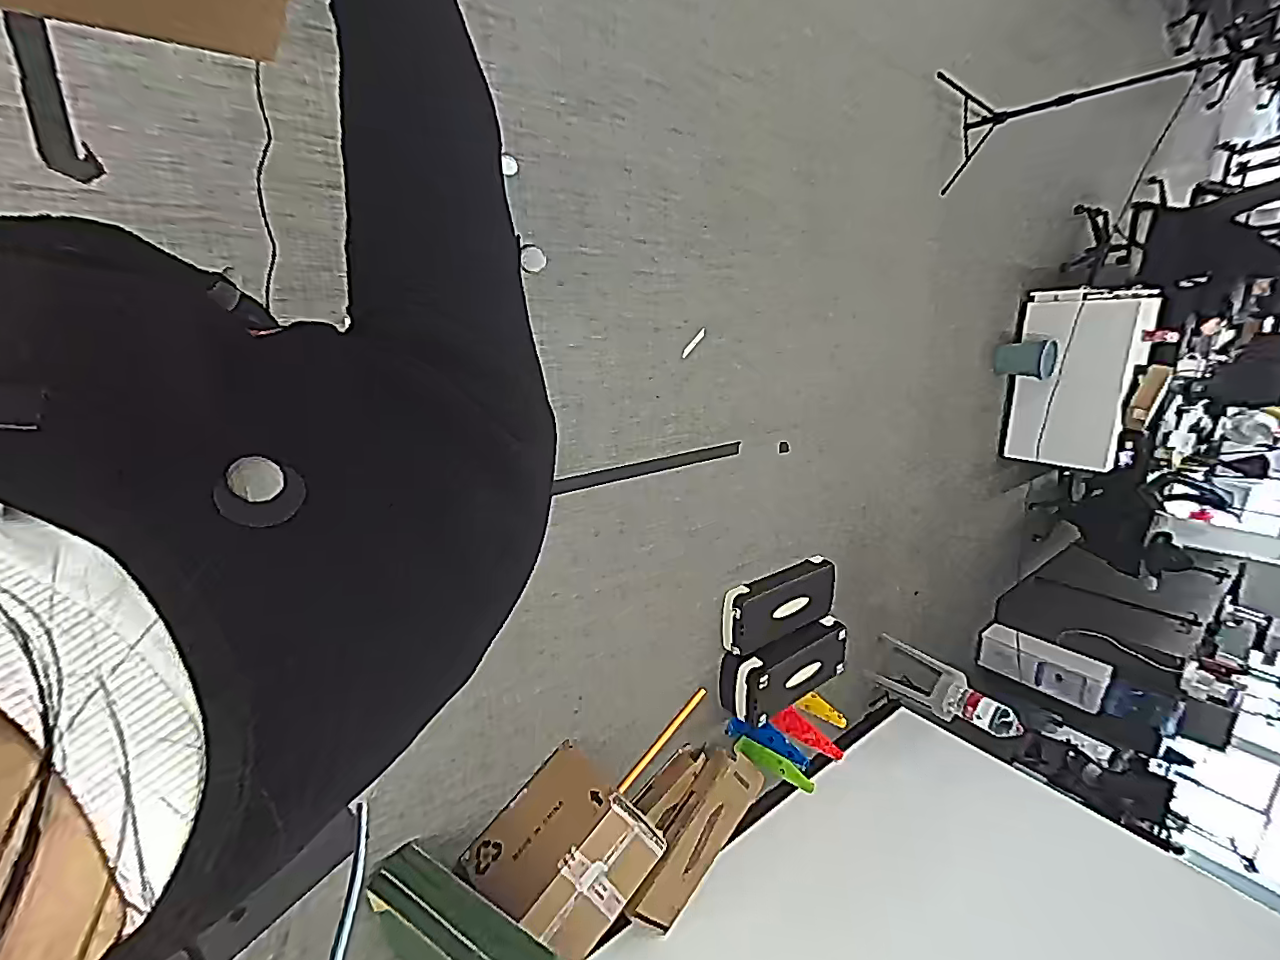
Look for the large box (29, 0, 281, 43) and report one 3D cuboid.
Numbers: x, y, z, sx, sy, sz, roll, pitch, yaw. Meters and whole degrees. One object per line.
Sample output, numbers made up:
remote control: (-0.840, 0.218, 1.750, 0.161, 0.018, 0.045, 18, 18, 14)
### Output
large box: (-0.473, -0.532, 0.315, 0.408, 0.320, 0.320, -16, 115, -35)
